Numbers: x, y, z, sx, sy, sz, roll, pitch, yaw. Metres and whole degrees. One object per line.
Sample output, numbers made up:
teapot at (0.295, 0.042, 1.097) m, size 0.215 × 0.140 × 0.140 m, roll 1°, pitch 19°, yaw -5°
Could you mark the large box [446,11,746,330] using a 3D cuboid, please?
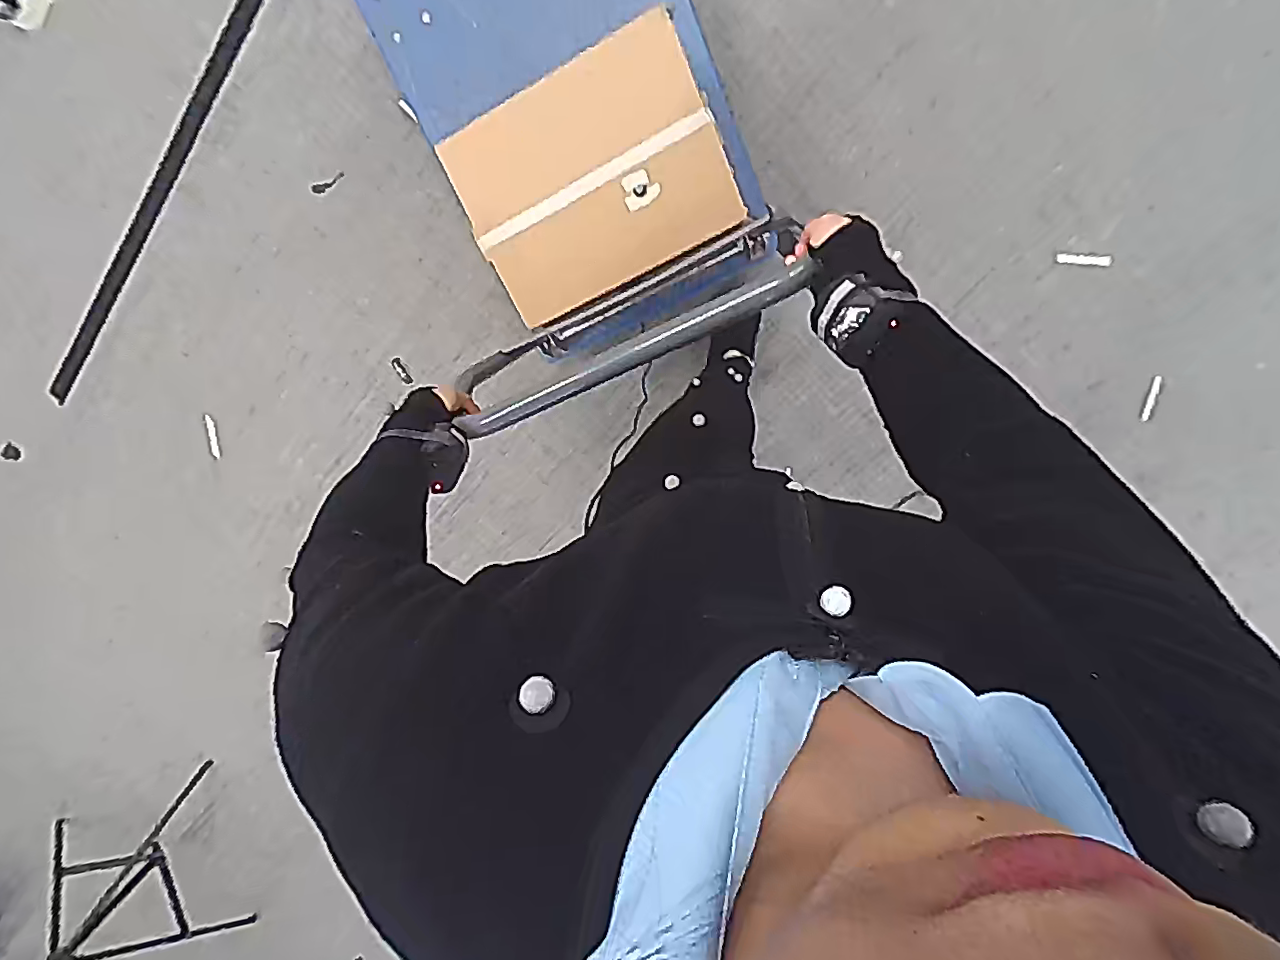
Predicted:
large box at (-0.061, -0.514, 0.998) m, size 0.408 × 0.320 × 0.320 m, roll -24°, pitch 106°, yaw 12°
